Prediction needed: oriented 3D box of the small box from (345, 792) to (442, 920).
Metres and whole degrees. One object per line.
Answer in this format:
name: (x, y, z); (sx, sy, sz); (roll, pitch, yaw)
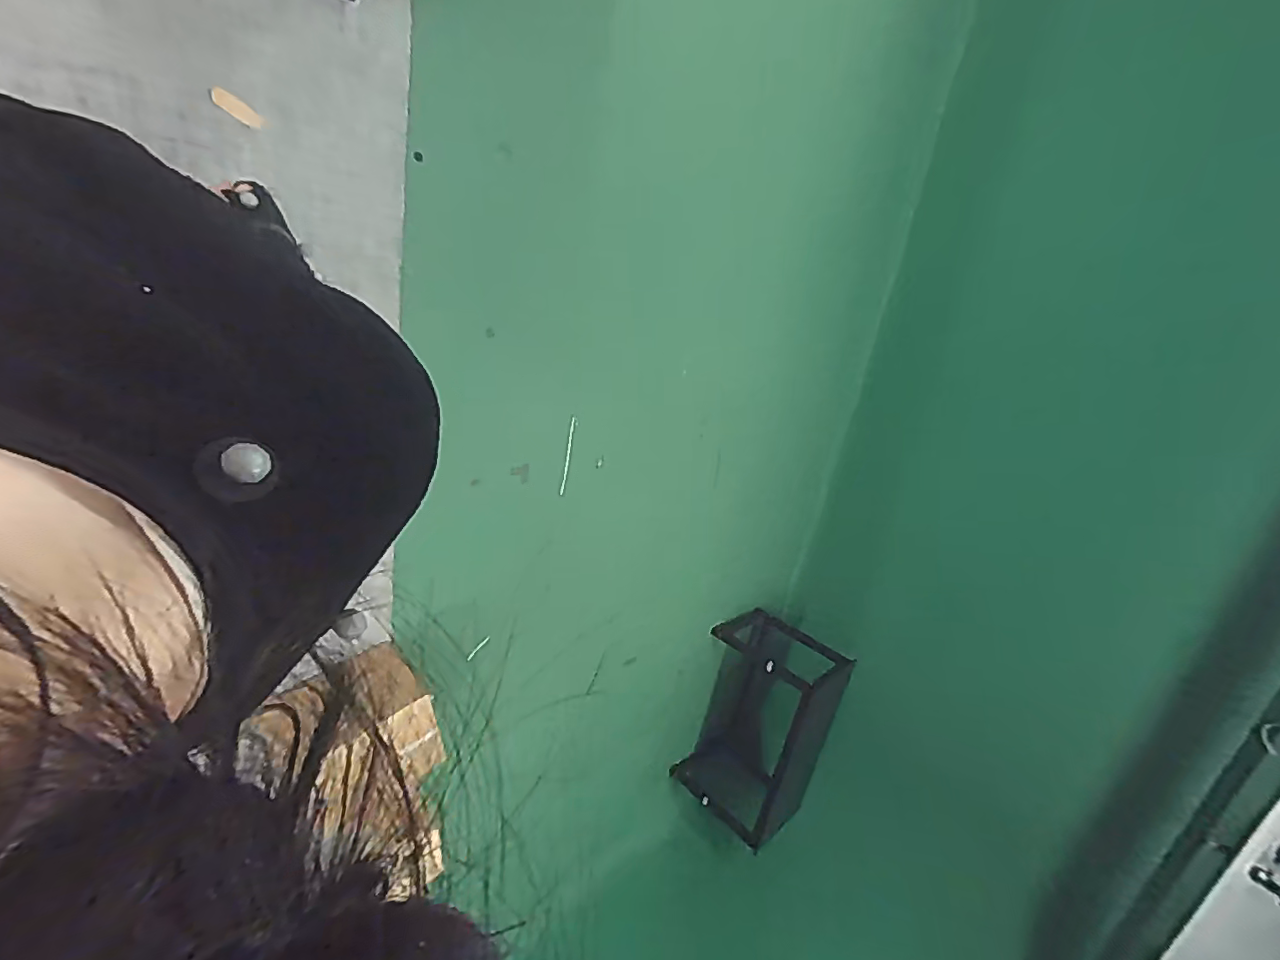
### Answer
small box: (-0.622, 0.933, 1.365); (0.168, 0.176, 0.179); (-19, 122, -41)

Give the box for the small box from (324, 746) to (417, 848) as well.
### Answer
small box: (-0.729, 0.871, 1.473); (0.179, 0.176, 0.168); (-21, 123, -40)

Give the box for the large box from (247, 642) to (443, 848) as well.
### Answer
large box: (-0.880, 0.778, 1.644); (0.408, 0.320, 0.320); (-26, 129, -39)
